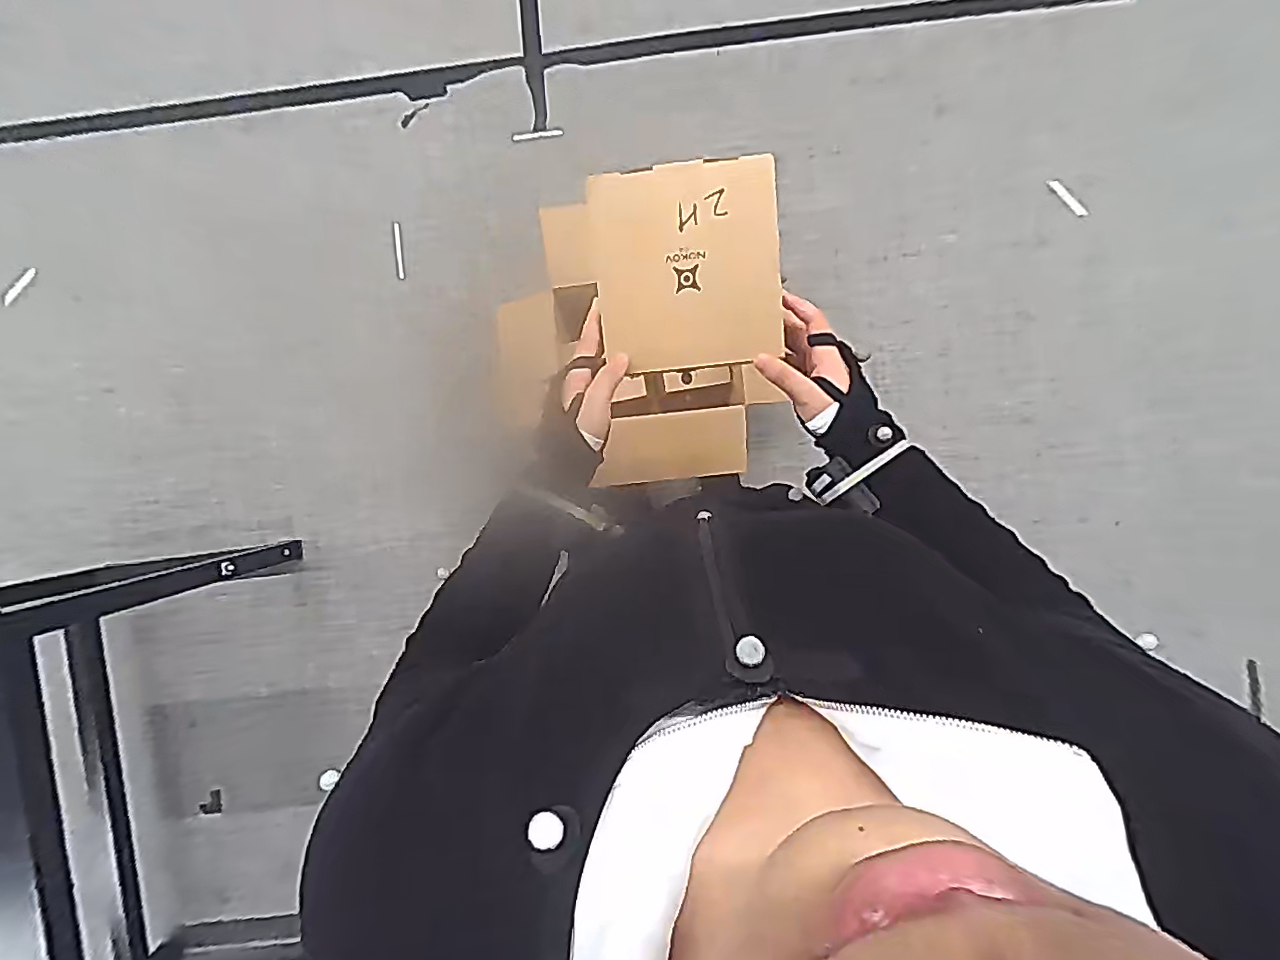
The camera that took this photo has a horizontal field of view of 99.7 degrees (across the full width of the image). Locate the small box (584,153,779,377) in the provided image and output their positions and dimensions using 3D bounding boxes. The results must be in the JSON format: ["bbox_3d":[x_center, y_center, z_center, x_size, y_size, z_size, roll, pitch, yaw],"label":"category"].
[{"bbox_3d":[0.043,-0.203,0.559,0.168,0.176,0.179,-5,100,3],"label":"small box"}]
